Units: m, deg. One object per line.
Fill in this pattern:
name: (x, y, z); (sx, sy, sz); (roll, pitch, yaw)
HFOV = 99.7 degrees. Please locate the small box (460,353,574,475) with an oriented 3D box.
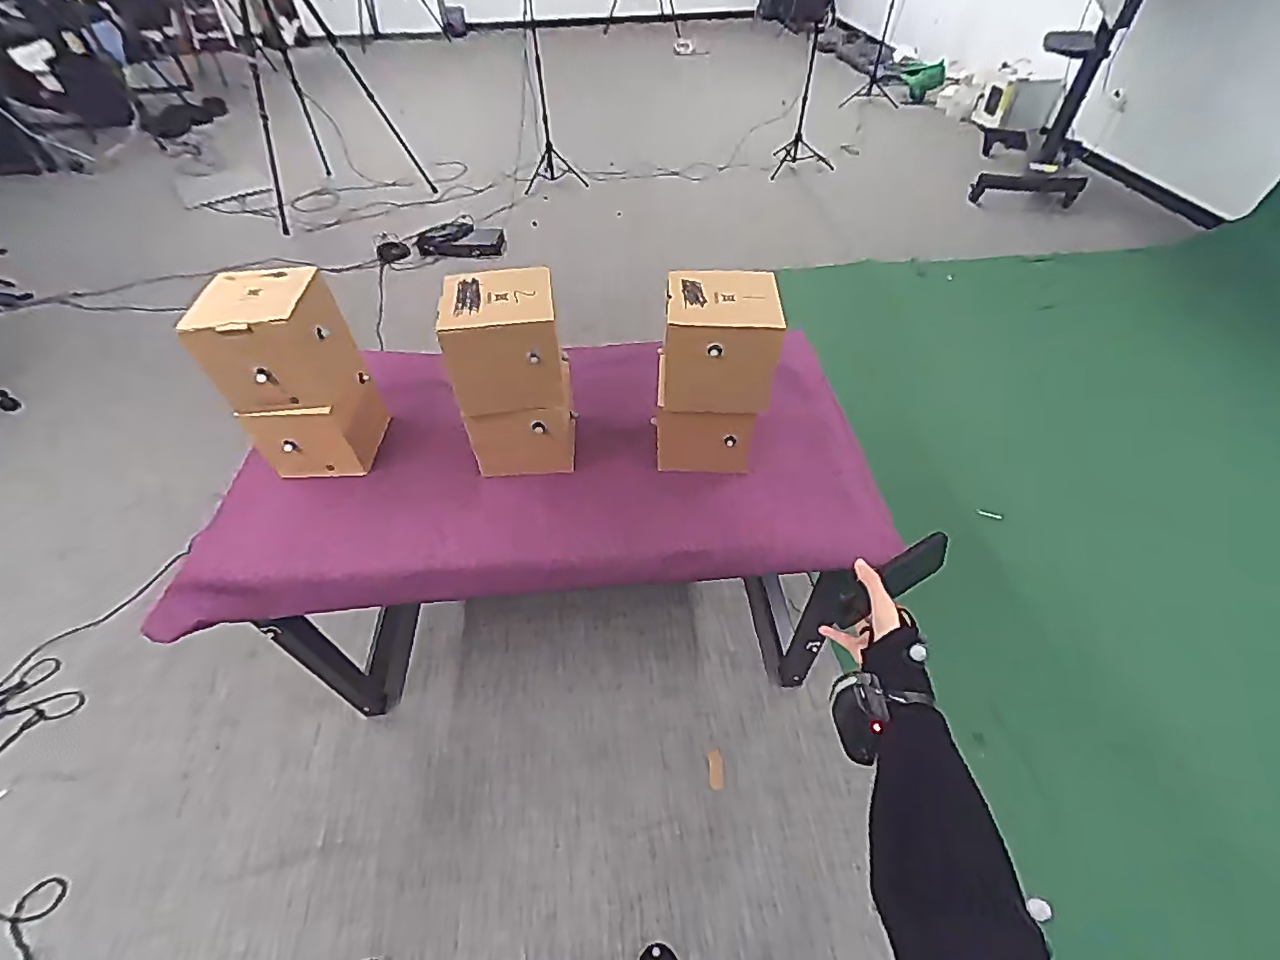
small box: (-0.222, -0.123, 1.033); (0.179, 0.176, 0.168); (-2, 48, -1)

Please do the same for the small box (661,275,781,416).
small box: (0.125, -0.221, 0.898); (0.179, 0.176, 0.168); (3, 48, 3)

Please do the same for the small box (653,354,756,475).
small box: (0.118, -0.123, 1.030); (0.179, 0.176, 0.168); (2, 48, 4)

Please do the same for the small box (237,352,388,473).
small box: (-0.613, -0.125, 1.043); (0.168, 0.176, 0.179); (-2, 48, 0)

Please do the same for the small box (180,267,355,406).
small box: (-0.616, -0.240, 0.925); (0.168, 0.176, 0.179); (-5, 49, -4)
